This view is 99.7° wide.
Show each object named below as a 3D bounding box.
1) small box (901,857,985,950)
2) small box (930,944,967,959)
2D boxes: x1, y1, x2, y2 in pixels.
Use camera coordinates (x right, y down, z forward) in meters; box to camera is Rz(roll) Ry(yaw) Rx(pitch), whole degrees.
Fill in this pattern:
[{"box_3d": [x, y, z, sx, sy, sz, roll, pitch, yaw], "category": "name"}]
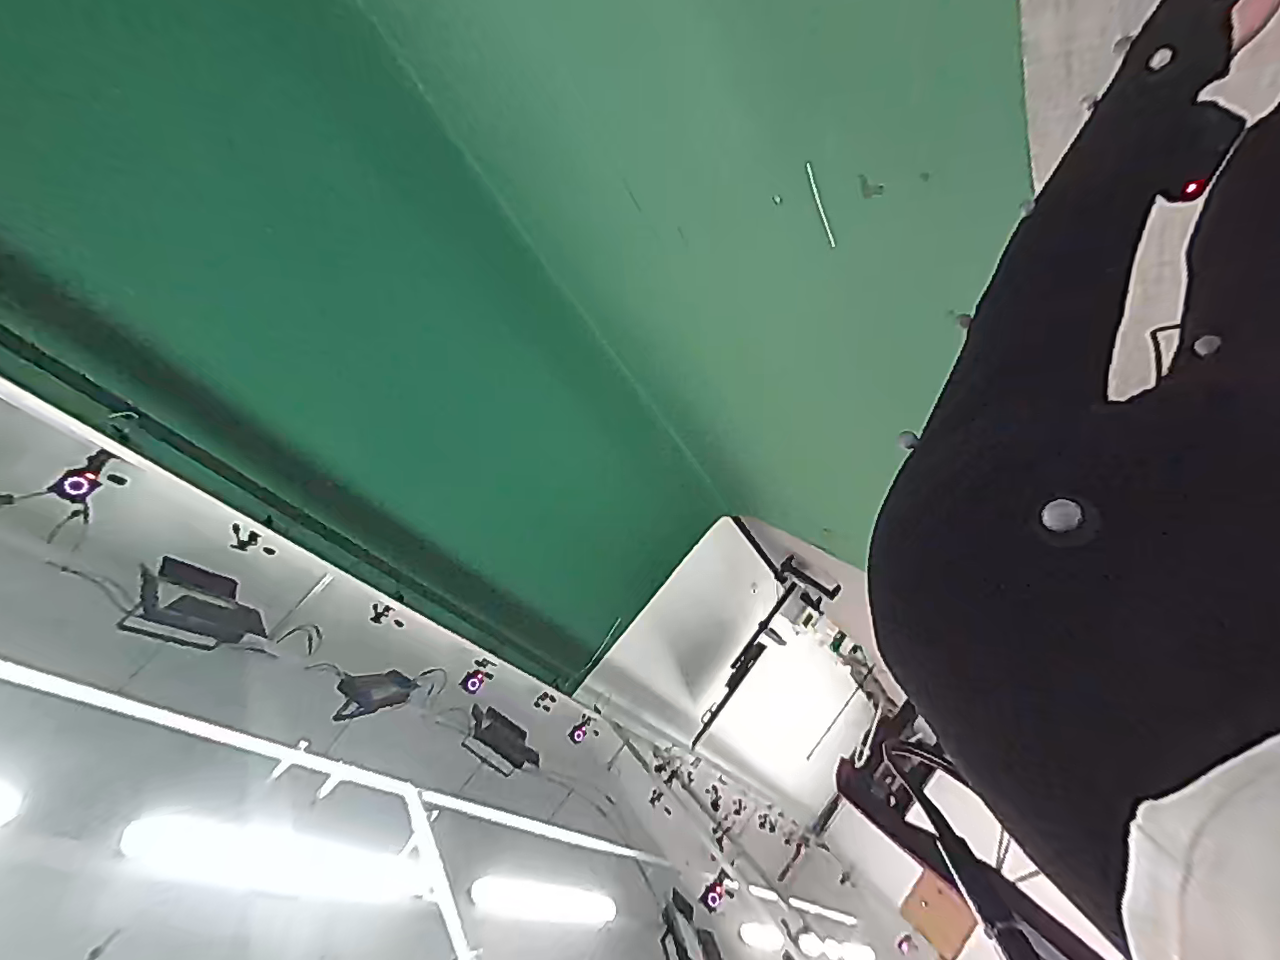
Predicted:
[{"box_3d": [0.957, 1.329, 1.704, 0.168, 0.176, 0.179, 31, 169, 47], "category": "small box"}, {"box_3d": [0.925, 1.494, 1.567, 0.179, 0.176, 0.168, 30, 167, 49], "category": "small box"}]
